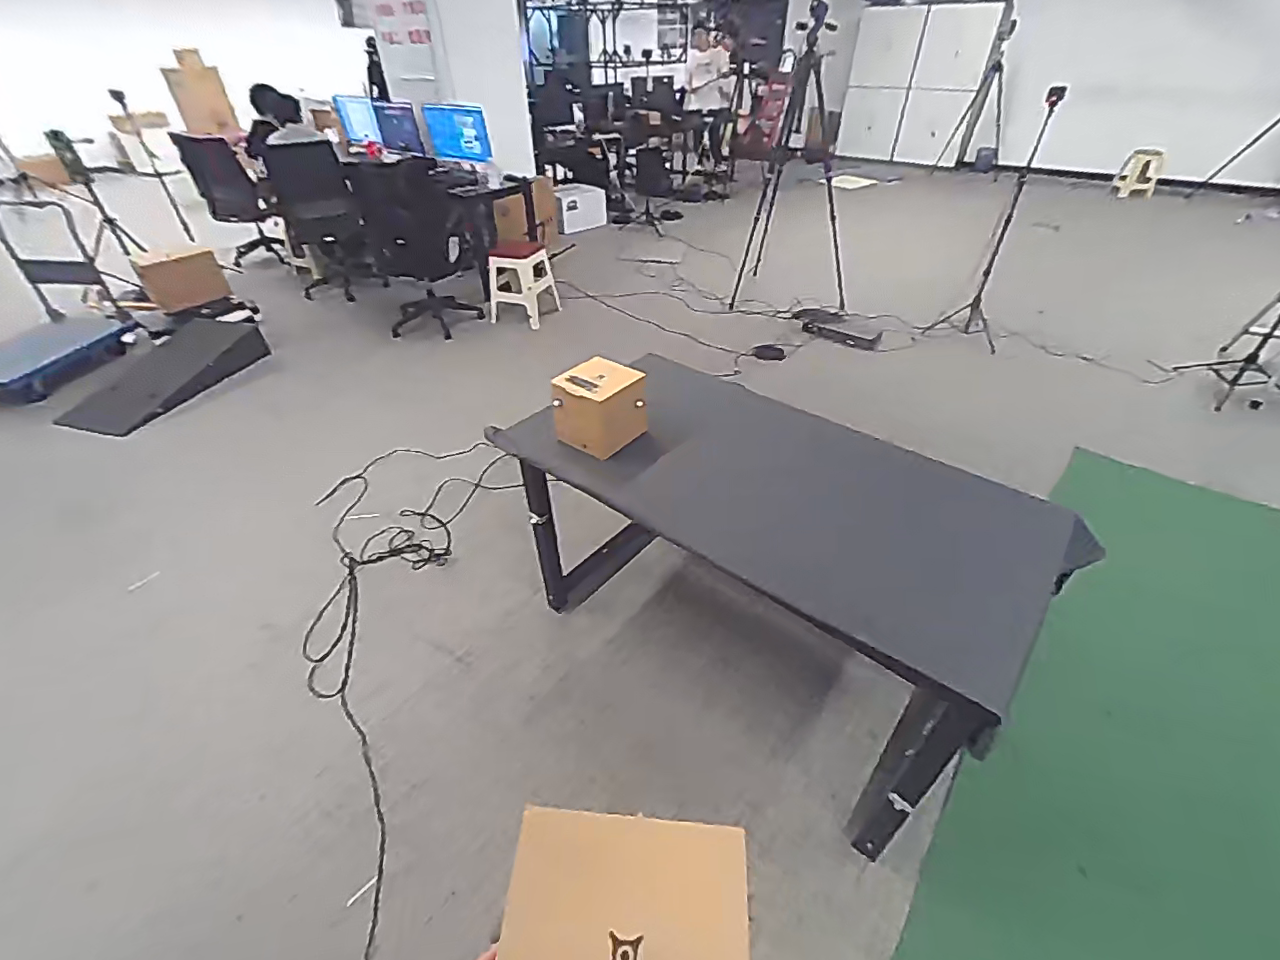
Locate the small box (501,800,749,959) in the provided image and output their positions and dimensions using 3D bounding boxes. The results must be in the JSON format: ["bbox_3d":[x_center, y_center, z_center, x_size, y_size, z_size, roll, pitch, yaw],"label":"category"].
[{"bbox_3d":[-0.011,0.368,0.415,0.168,0.176,0.179,3,51,3],"label":"small box"}]
